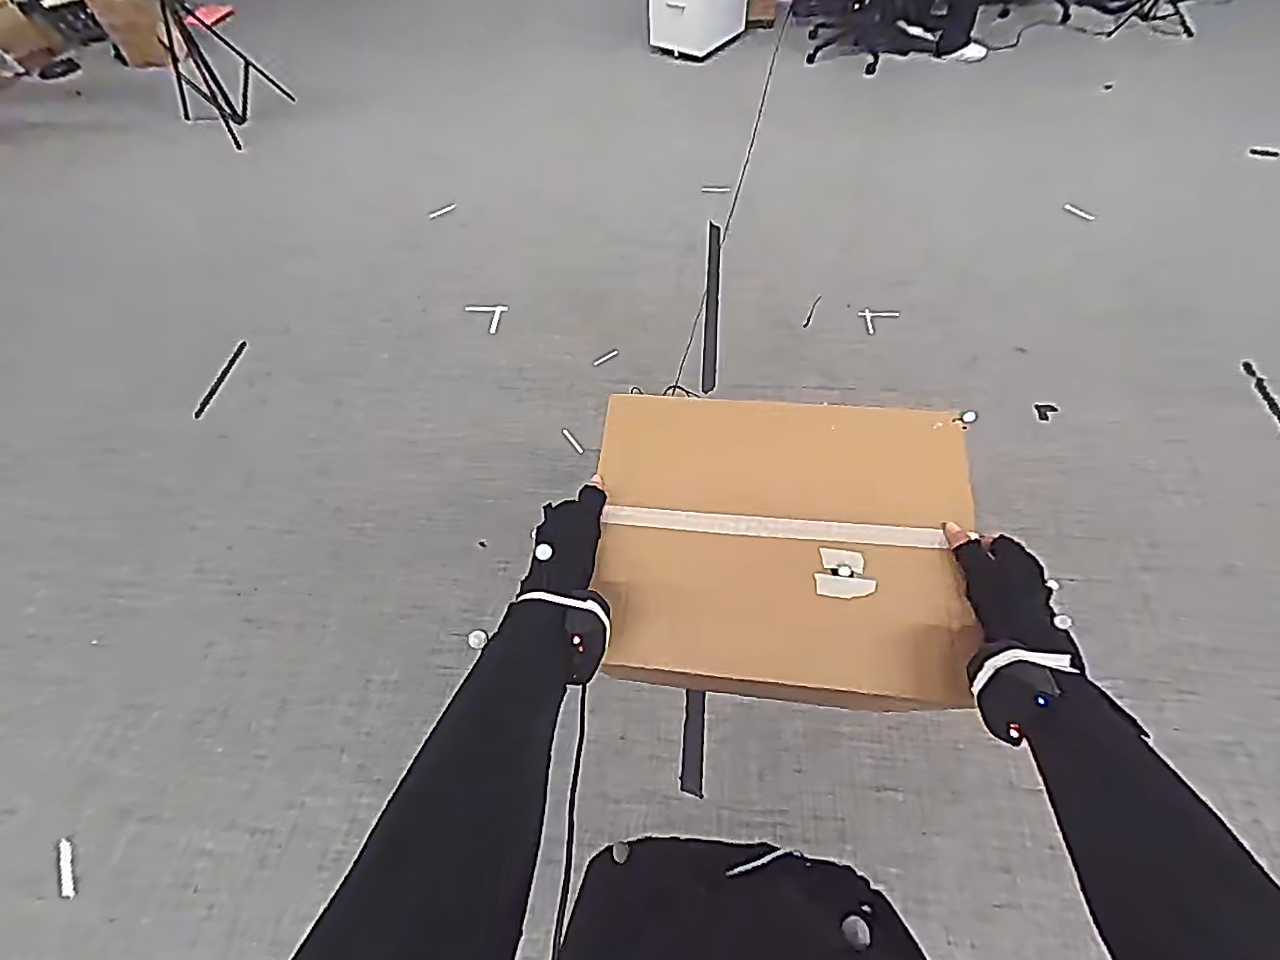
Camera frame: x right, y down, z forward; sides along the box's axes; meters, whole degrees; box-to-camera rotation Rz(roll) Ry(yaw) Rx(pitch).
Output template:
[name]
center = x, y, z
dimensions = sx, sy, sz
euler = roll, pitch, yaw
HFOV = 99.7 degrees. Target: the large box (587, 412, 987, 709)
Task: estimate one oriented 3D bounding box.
[large box]
center = 0.163, 0.124, 0.734
dimensions = 0.408, 0.320, 0.320
euler = 4, 68, 6
